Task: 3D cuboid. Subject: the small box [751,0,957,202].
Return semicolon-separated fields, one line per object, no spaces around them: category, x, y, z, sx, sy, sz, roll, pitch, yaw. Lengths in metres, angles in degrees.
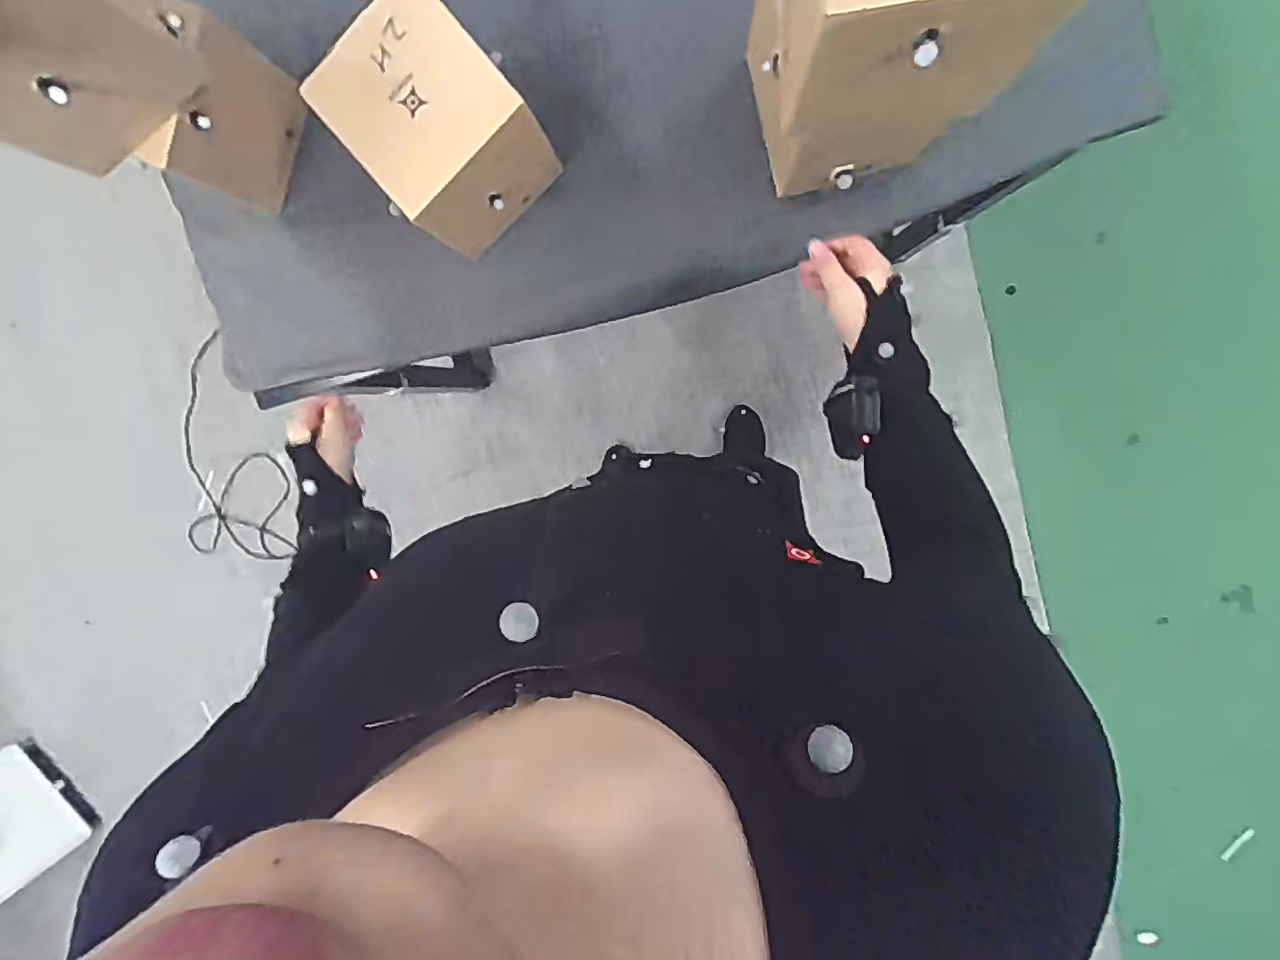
small box;0.220;-0.431;0.571;0.168;0.176;0.179;-14;97;9

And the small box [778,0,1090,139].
small box;0.206;-0.393;0.413;0.179;0.176;0.168;-3;98;8

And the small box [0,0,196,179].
small box;-0.558;-0.416;0.484;0.179;0.176;0.168;-34;95;10

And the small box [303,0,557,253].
small box;-0.221;-0.389;0.621;0.168;0.176;0.179;-41;92;9

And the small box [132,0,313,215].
small box;-0.543;-0.447;0.645;0.179;0.176;0.168;25;101;1
